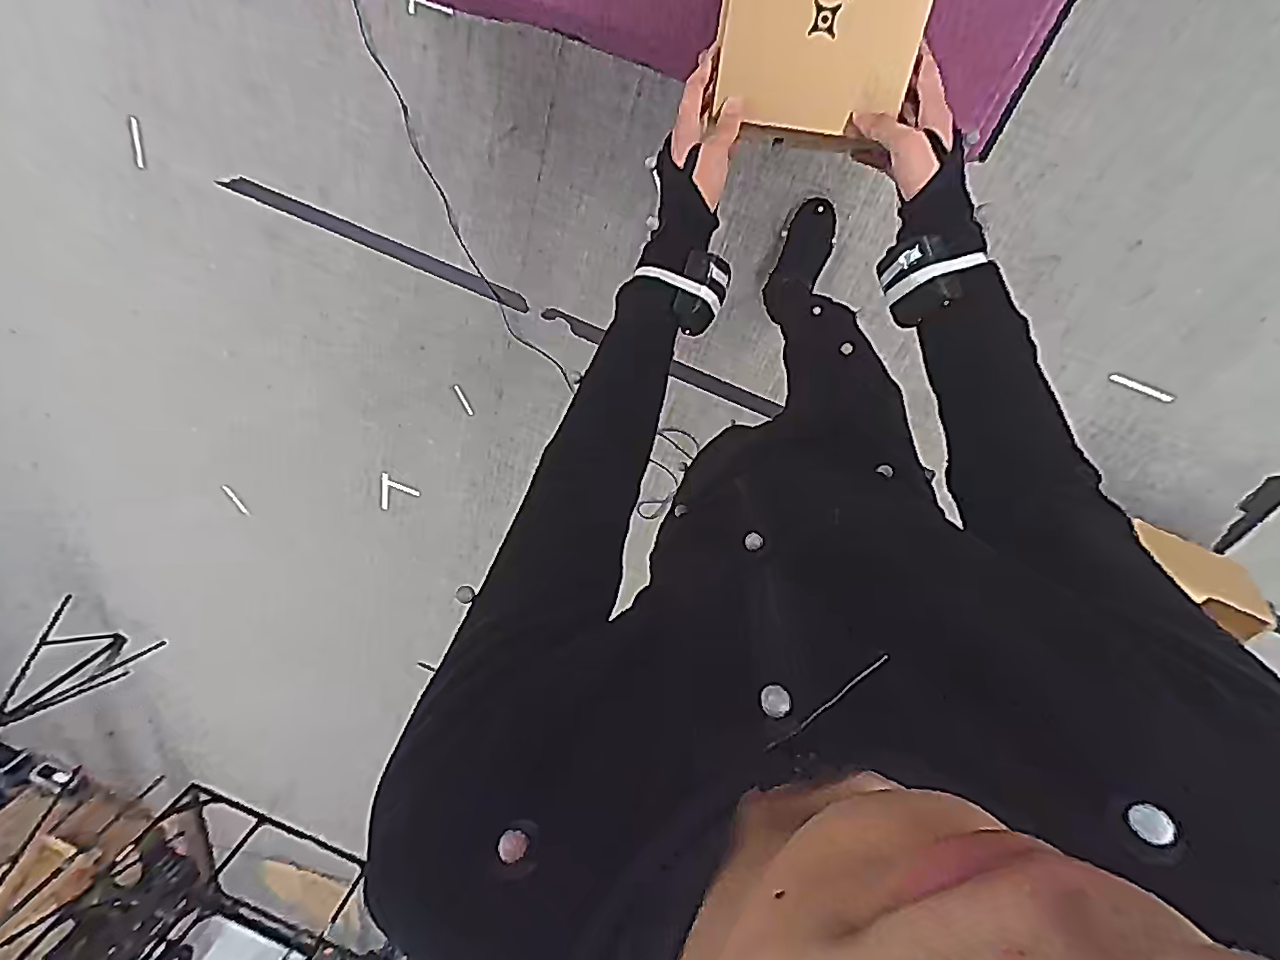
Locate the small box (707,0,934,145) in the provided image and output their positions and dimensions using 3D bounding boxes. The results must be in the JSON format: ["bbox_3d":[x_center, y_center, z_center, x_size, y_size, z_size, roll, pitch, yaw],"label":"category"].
[{"bbox_3d":[0.158,-0.427,0.504,0.168,0.176,0.179,7,118,-1],"label":"small box"}]
